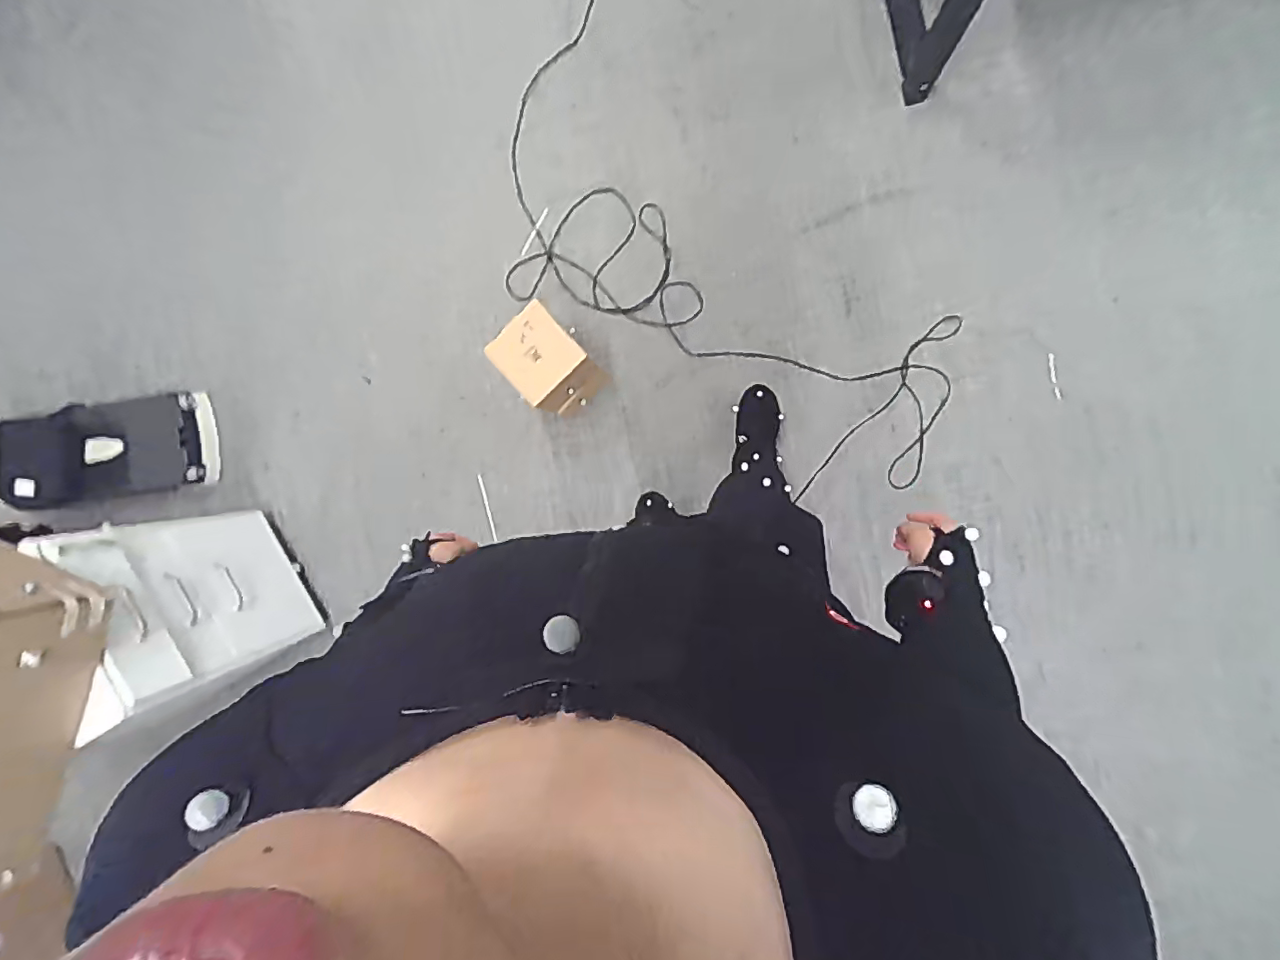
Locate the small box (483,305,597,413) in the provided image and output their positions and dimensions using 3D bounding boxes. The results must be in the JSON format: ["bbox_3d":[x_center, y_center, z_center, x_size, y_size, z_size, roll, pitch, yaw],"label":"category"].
[{"bbox_3d":[-0.222,-0.271,1.259,0.168,0.176,0.179,-43,87,7],"label":"small box"}]

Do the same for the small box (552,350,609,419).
[{"bbox_3d":[-0.203,-0.275,1.423,0.179,0.176,0.168,42,97,3],"label":"small box"}]
